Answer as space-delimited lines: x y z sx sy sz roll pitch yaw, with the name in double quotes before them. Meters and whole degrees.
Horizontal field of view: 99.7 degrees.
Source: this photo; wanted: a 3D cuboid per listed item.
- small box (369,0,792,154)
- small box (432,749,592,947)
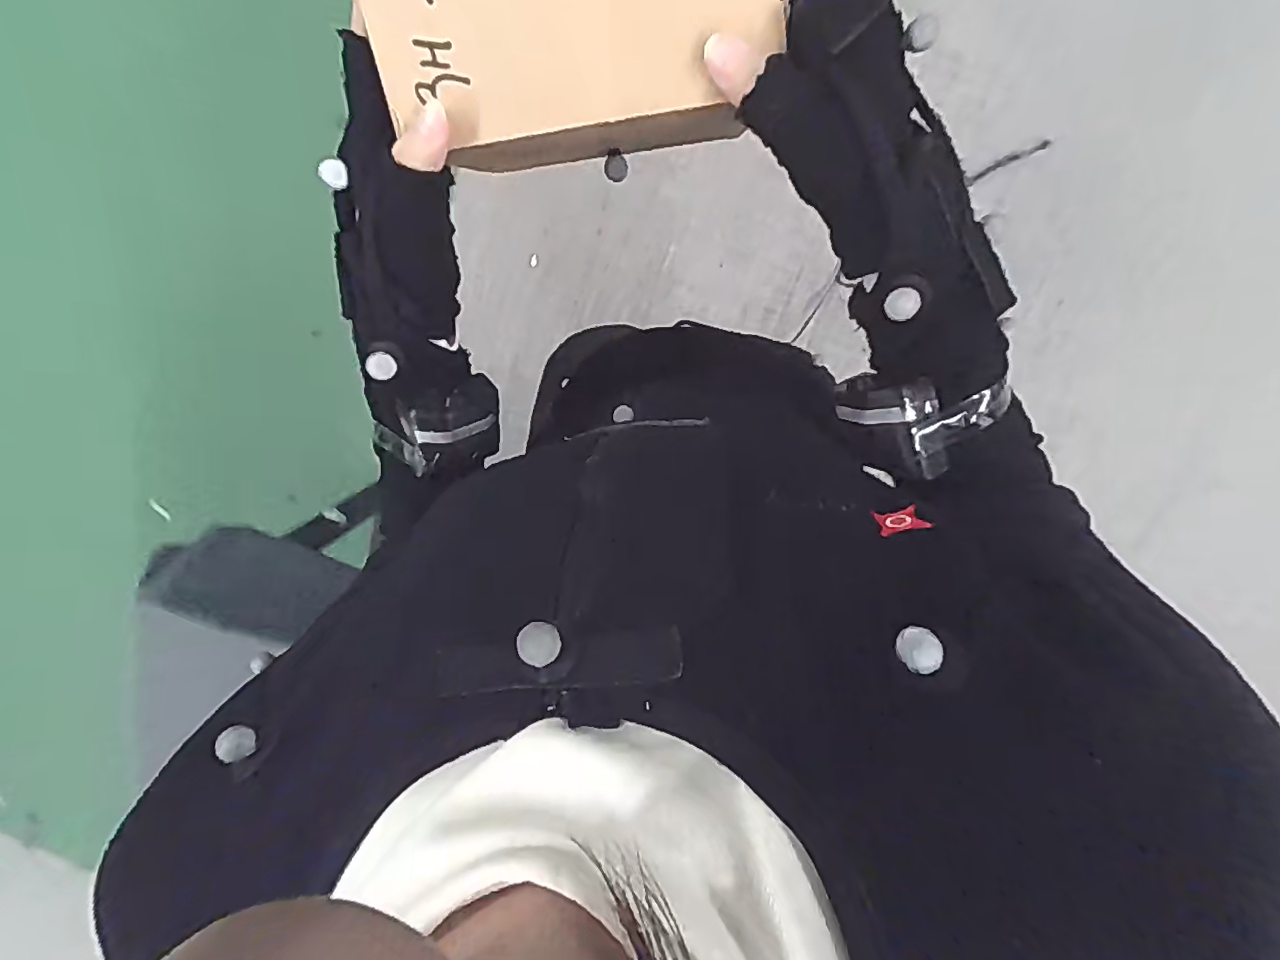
"small box" -0.028 -0.273 0.272 0.179 0.176 0.168 -4 117 5
"small box" -0.187 0.549 0.825 0.179 0.176 0.168 18 112 -1
